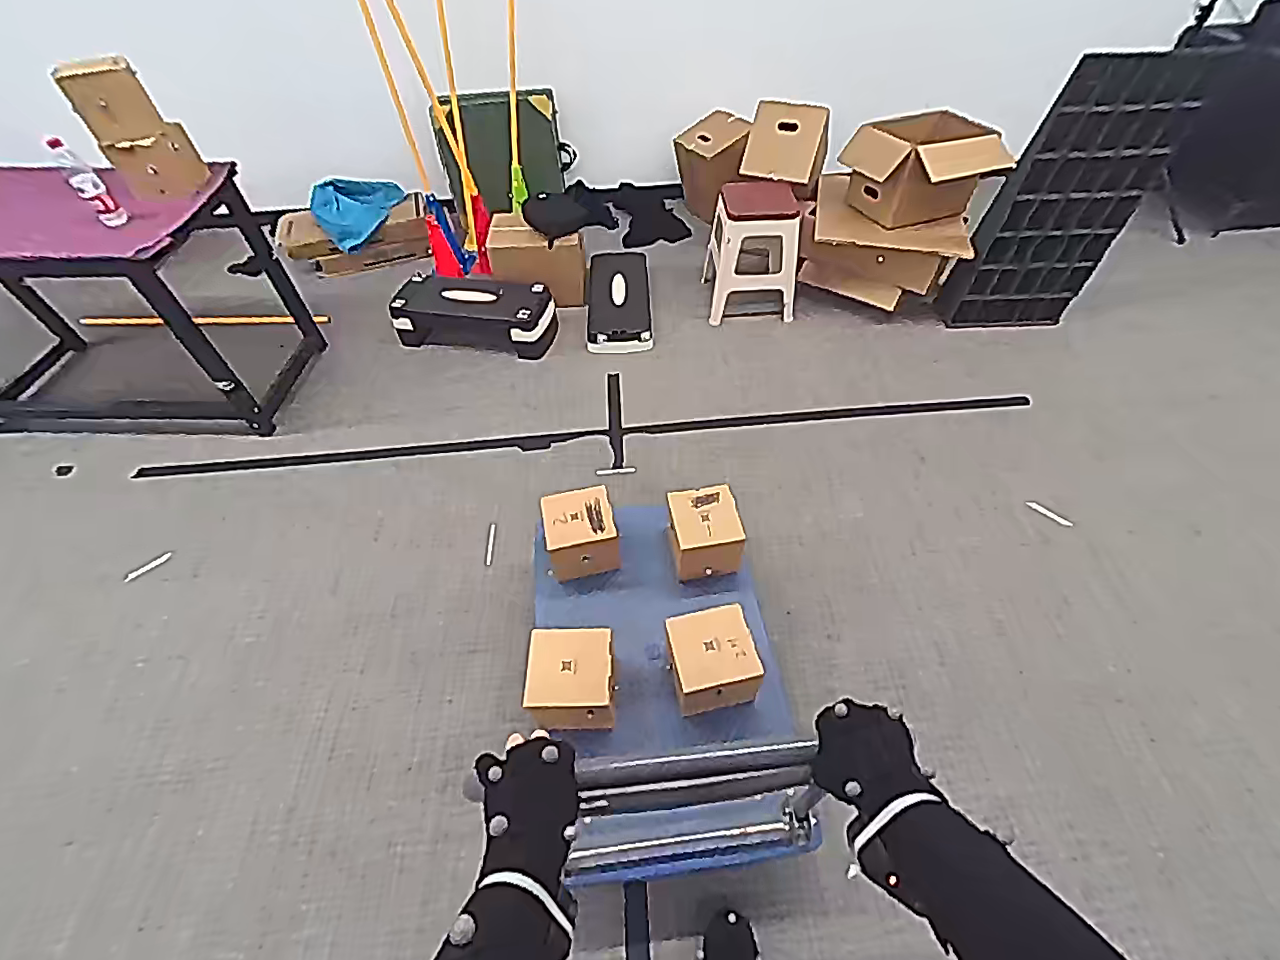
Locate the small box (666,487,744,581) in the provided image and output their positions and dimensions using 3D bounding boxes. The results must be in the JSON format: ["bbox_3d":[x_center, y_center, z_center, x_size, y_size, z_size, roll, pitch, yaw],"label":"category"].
[{"bbox_3d":[0.163,0.145,1.432,0.168,0.176,0.179,-8,52,-5],"label":"small box"}]

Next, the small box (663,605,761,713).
[{"bbox_3d":[0.155,0.407,1.219,0.179,0.176,0.168,-11,52,-6],"label":"small box"}]

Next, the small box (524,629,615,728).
[{"bbox_3d":[-0.149,0.444,1.203,0.179,0.176,0.168,-1,51,0],"label":"small box"}]
